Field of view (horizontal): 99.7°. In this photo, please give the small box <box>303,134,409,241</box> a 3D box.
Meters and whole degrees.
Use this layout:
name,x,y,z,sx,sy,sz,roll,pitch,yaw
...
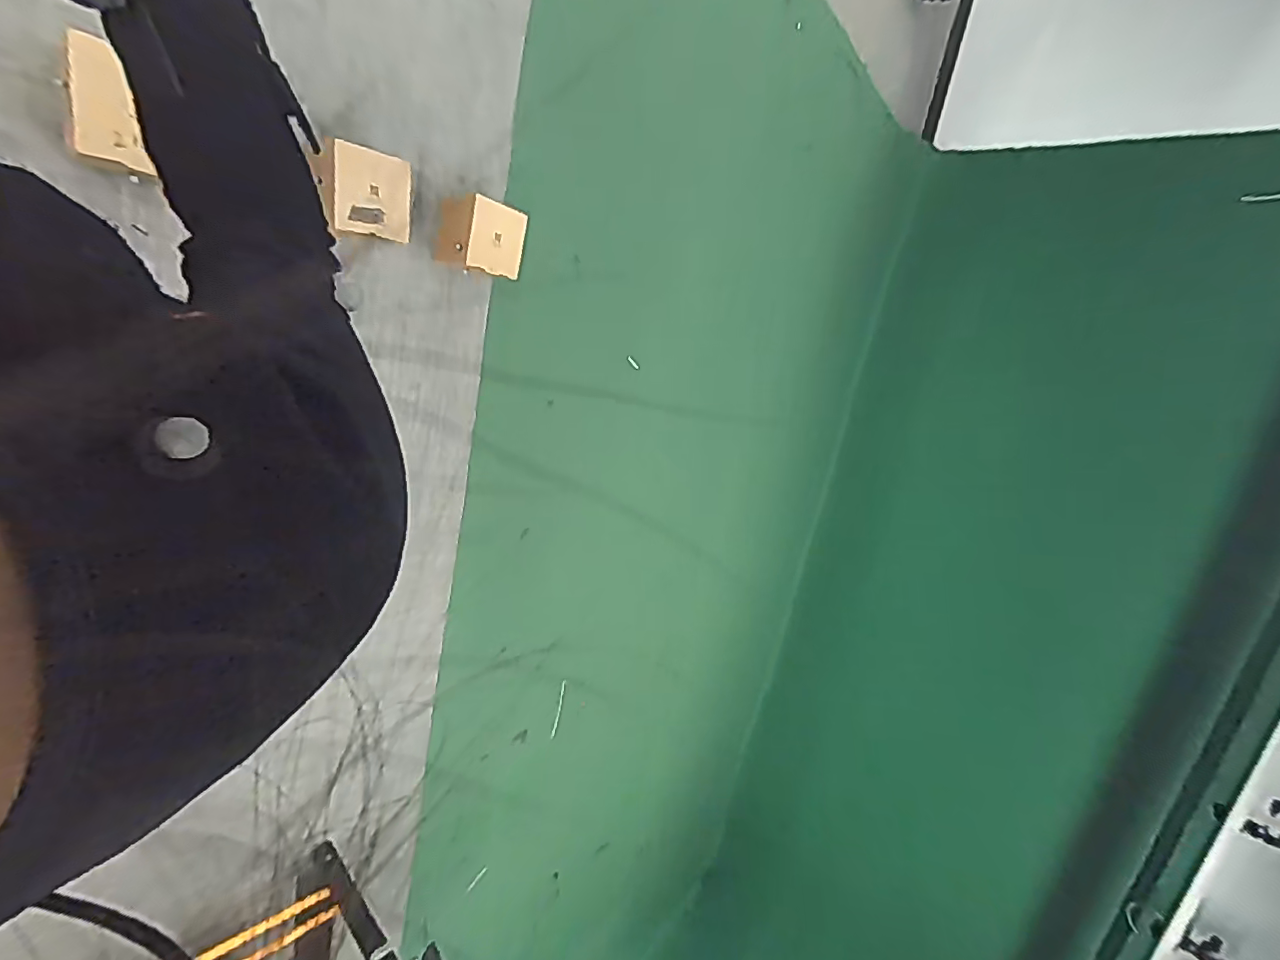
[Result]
name,x,y,z,sx,sy,sz,roll,pitch,yaw
small box,-0.650,-0.660,1.237,0.168,0.176,0.179,-10,115,-49

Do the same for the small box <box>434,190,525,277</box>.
name,x,y,z,sx,sy,sz,roll,pitch,yaw
small box,-0.444,-0.675,1.486,0.168,0.176,0.179,-2,109,-50

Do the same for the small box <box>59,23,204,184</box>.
name,x,y,z,sx,sy,sz,roll,pitch,yaw
small box,-0.889,-0.641,0.948,0.168,0.176,0.179,-6,113,-48
